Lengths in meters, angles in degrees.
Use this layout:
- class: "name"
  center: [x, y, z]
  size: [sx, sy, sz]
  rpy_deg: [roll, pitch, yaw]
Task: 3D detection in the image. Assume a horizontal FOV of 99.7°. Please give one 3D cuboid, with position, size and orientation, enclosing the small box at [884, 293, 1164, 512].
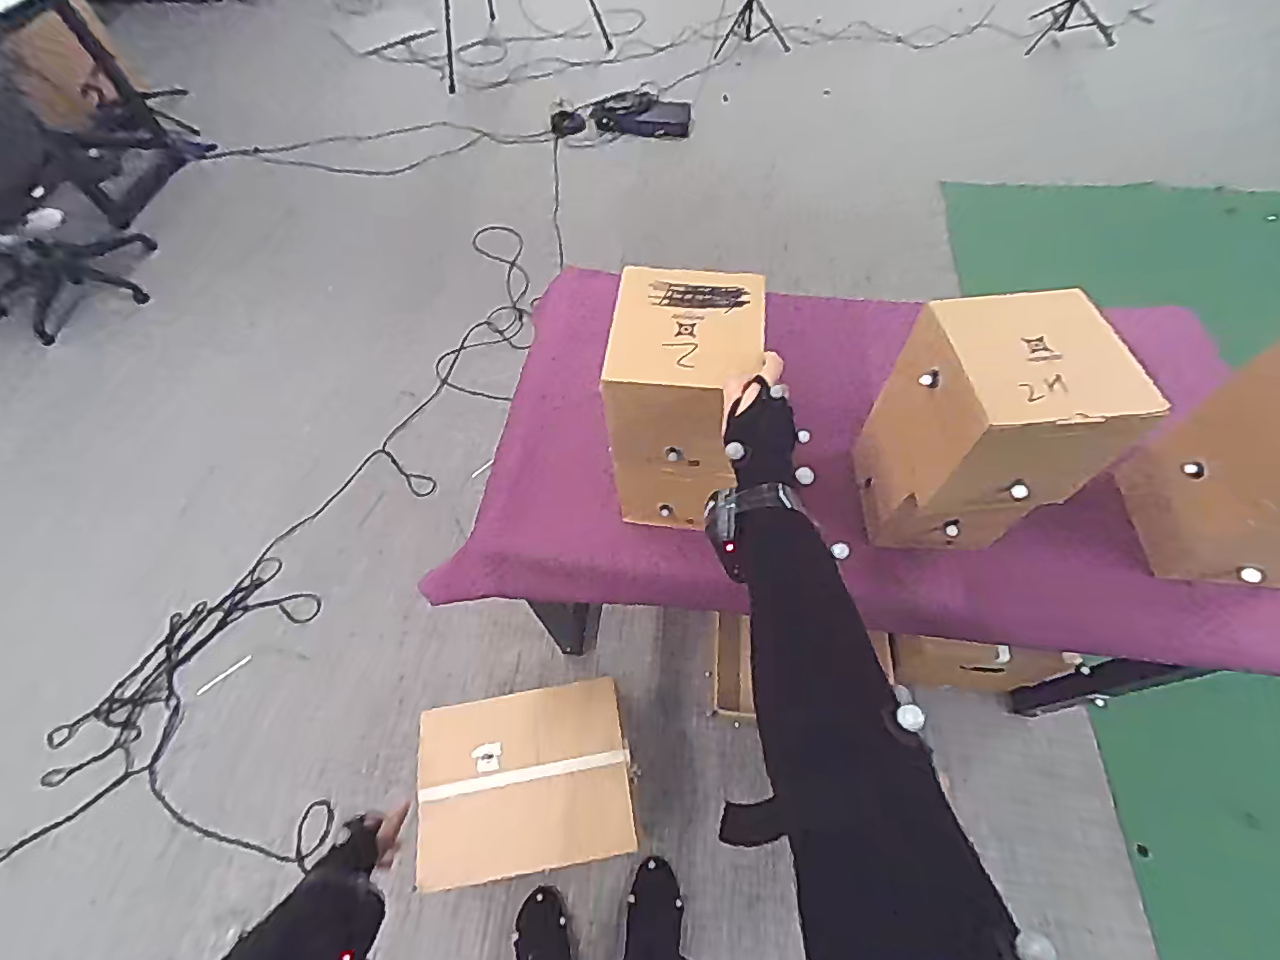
- class: "small box"
  center: [0.400, -0.083, 0.609]
  size: [0.168, 0.176, 0.179]
  rpy_deg: [-4, 57, 1]

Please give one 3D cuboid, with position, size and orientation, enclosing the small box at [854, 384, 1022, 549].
- class: "small box"
  center: [0.416, -0.014, 0.760]
  size: [0.168, 0.176, 0.179]
  rpy_deg: [1, 58, 4]

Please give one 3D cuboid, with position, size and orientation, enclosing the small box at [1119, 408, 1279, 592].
- class: "small box"
  center: [0.793, 0.029, 0.712]
  size: [0.168, 0.176, 0.179]
  rpy_deg: [4, 58, 7]

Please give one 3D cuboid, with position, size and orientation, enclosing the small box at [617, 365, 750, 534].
- class: "small box"
  center: [0.064, -0.042, 0.798]
  size: [0.168, 0.176, 0.179]
  rpy_deg: [6, 59, 6]

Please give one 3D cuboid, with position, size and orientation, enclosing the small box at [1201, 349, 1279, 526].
- class: "small box"
  center: [0.779, -0.060, 0.577]
  size: [0.168, 0.176, 0.179]
  rpy_deg: [2, 58, 6]
